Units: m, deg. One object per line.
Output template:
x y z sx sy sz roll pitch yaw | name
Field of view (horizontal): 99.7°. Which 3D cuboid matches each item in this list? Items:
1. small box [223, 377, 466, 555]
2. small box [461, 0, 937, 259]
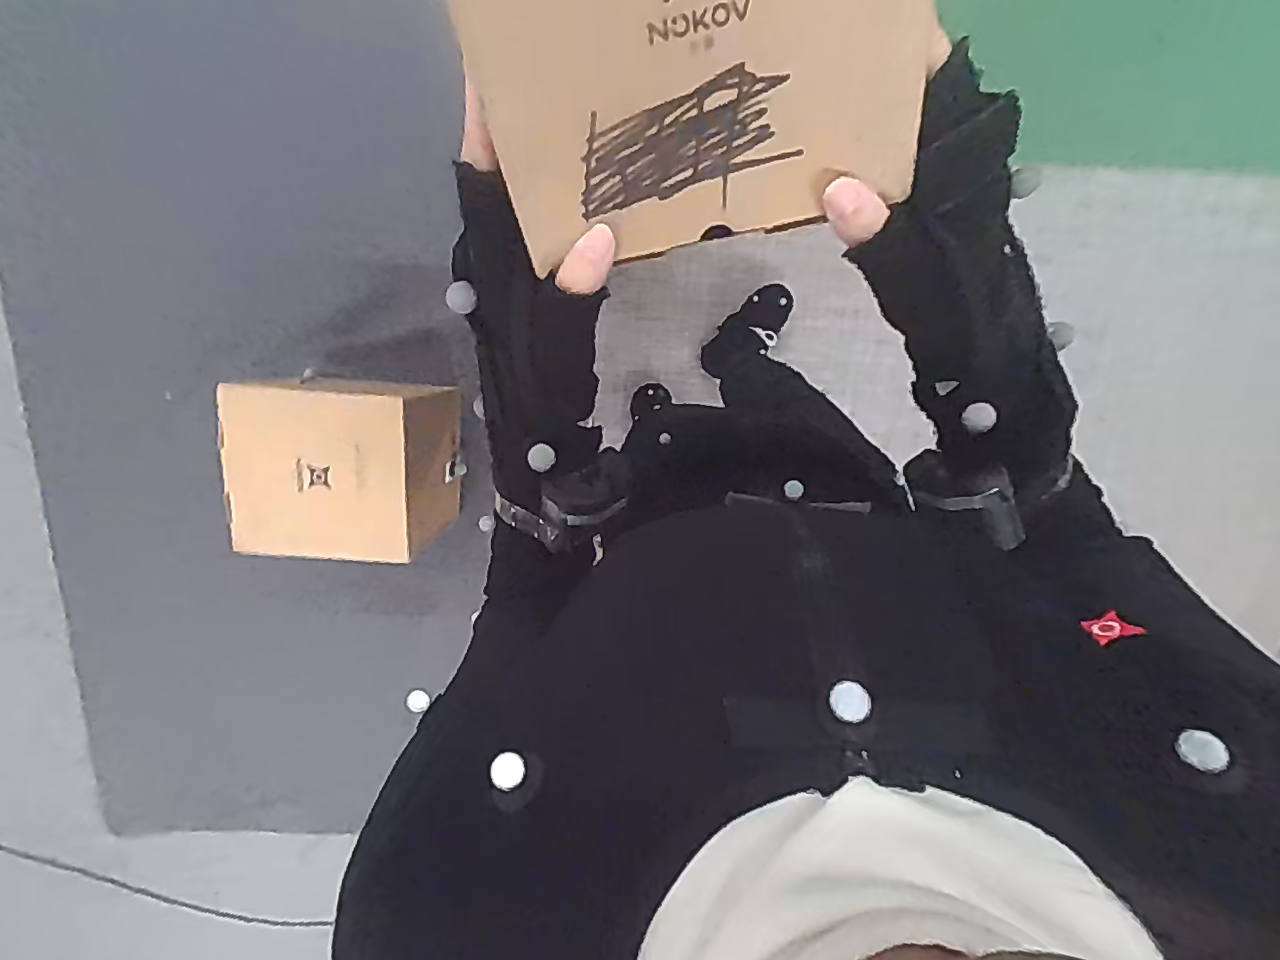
-0.307 -0.026 0.600 0.179 0.176 0.168 2 103 -1 | small box
0.018 -0.227 0.239 0.168 0.176 0.179 -9 131 6 | small box
